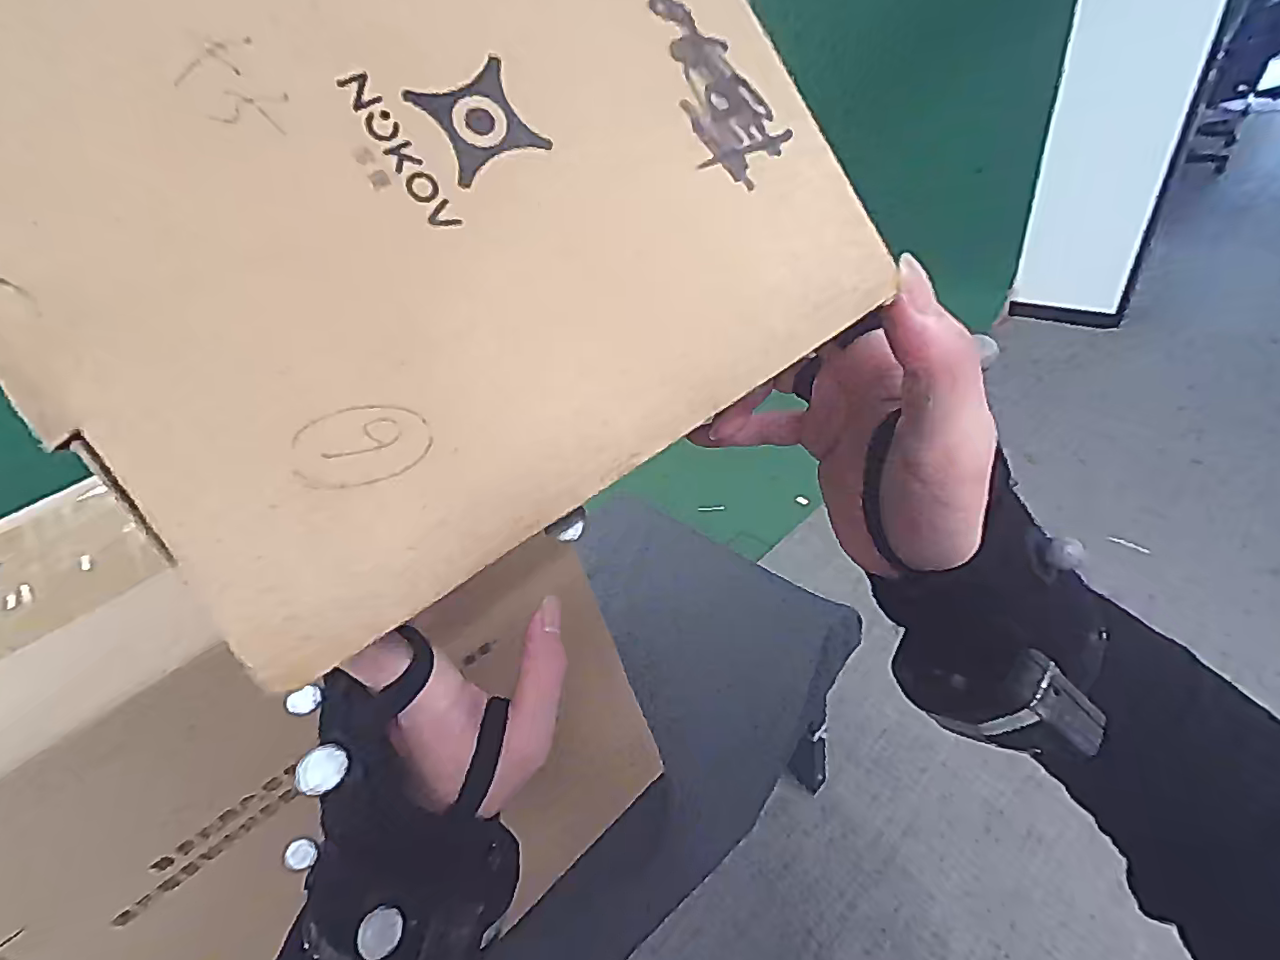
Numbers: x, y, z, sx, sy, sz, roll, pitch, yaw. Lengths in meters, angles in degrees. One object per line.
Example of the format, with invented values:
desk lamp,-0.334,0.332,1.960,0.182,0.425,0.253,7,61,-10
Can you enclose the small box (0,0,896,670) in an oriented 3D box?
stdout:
small box,-0.061,-0.068,0.197,0.179,0.168,0.176,-33,5,-14
